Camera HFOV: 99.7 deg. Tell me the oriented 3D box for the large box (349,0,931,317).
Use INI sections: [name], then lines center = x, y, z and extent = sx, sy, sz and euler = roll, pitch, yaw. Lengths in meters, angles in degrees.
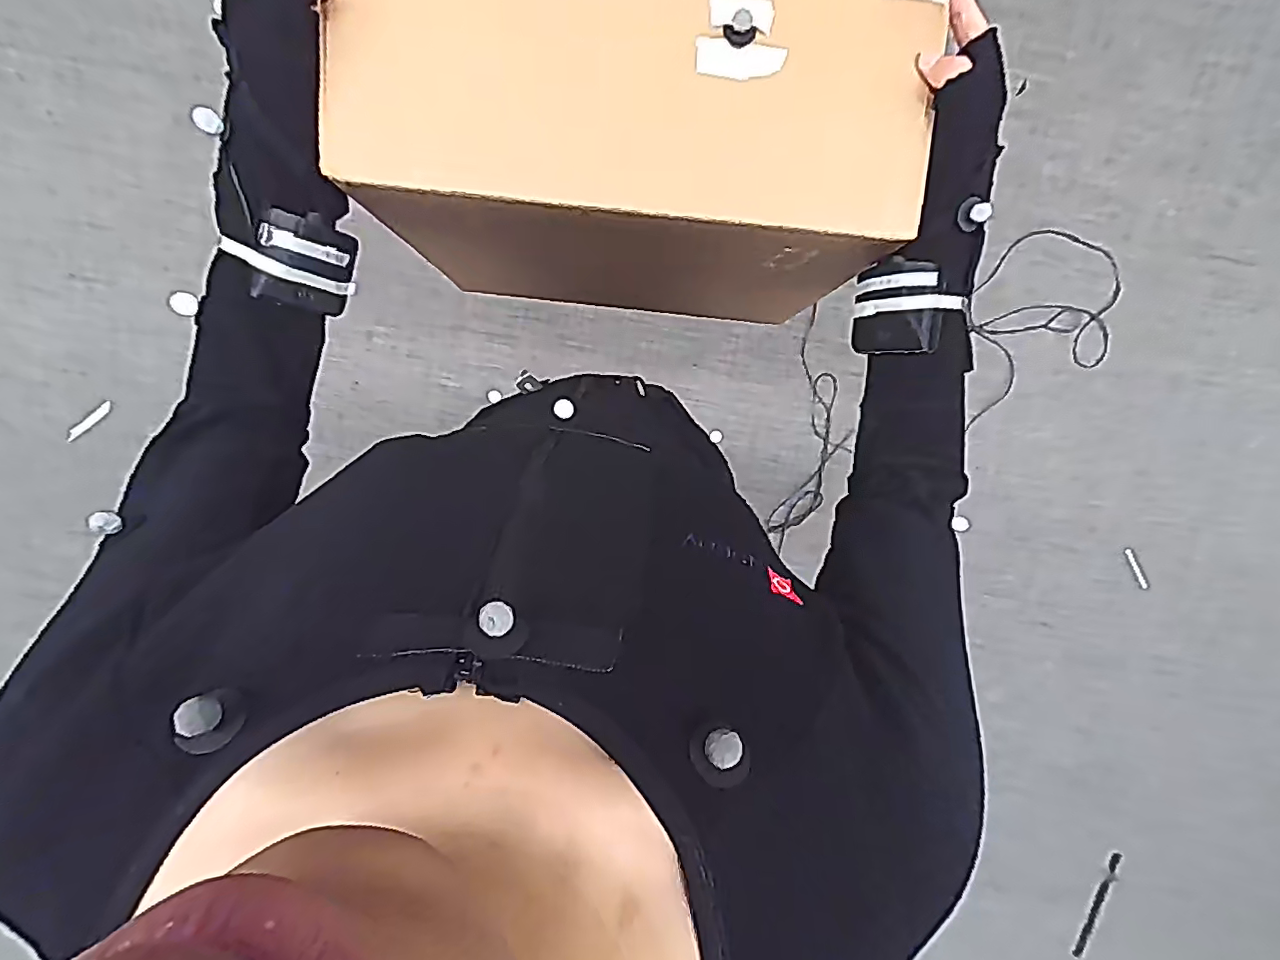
[large box]
center = -0.001, -0.357, 0.518
extent = 0.408, 0.320, 0.320
euler = 5, 95, -2
